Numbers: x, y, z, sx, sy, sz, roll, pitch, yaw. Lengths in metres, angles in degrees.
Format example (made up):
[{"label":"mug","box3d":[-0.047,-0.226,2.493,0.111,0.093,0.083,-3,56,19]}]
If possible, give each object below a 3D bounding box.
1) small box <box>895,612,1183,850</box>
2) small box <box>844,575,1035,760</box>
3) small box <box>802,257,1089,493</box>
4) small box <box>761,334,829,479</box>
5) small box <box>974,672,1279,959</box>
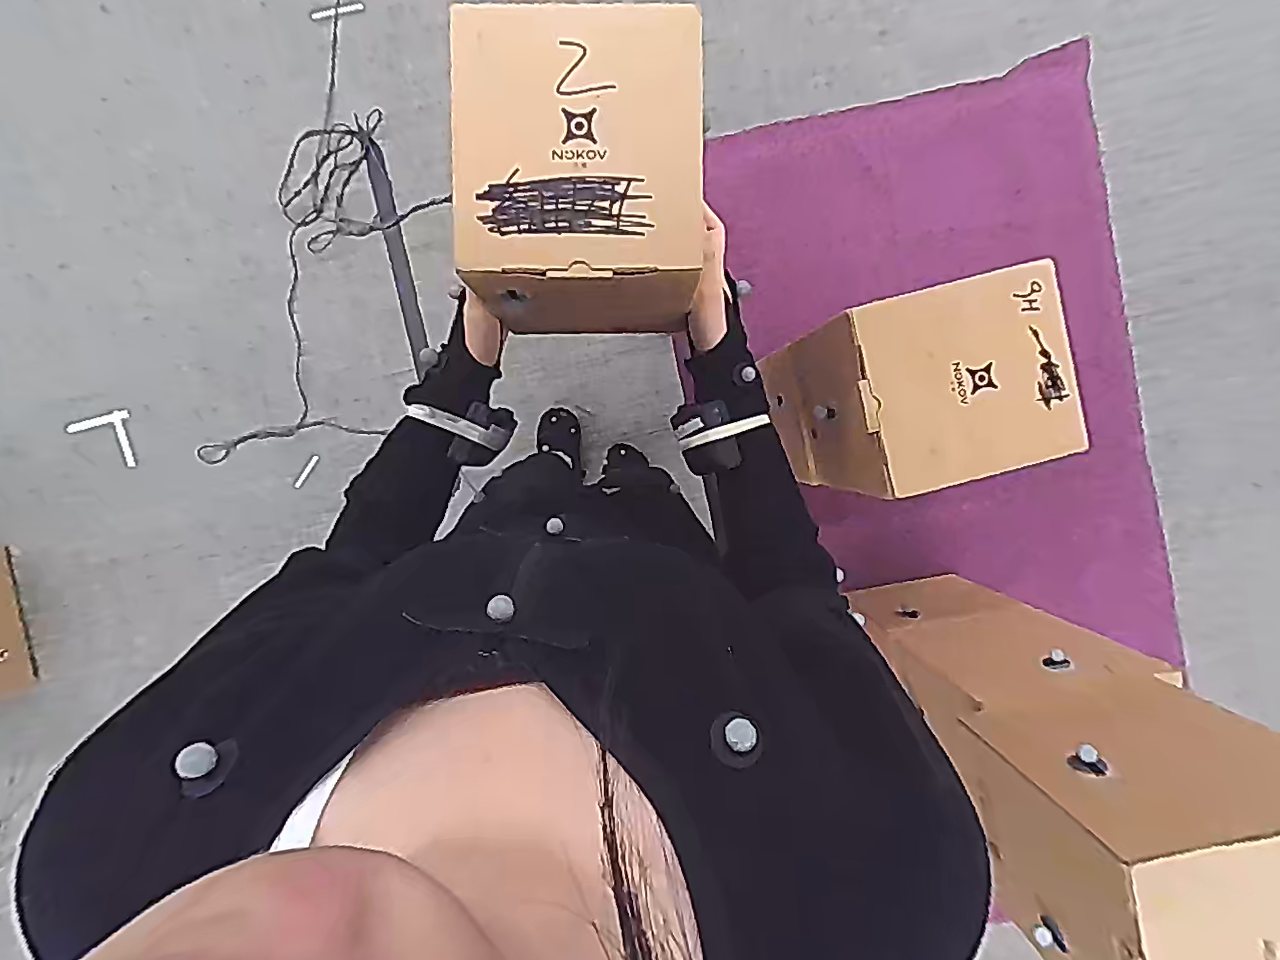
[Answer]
[{"label":"small box","box3d":[0.393,0.247,0.552,0.179,0.176,0.168,-10,94,0]},{"label":"small box","box3d":[0.387,0.234,0.715,0.179,0.176,0.168,-10,94,-1]},{"label":"small box","box3d":[0.273,-0.090,0.530,0.179,0.176,0.168,-15,94,0]},{"label":"small box","box3d":[0.263,-0.099,0.693,0.179,0.176,0.168,-12,94,-1]},{"label":"small box","box3d":[0.375,0.264,0.390,0.179,0.176,0.168,-13,94,0]}]
